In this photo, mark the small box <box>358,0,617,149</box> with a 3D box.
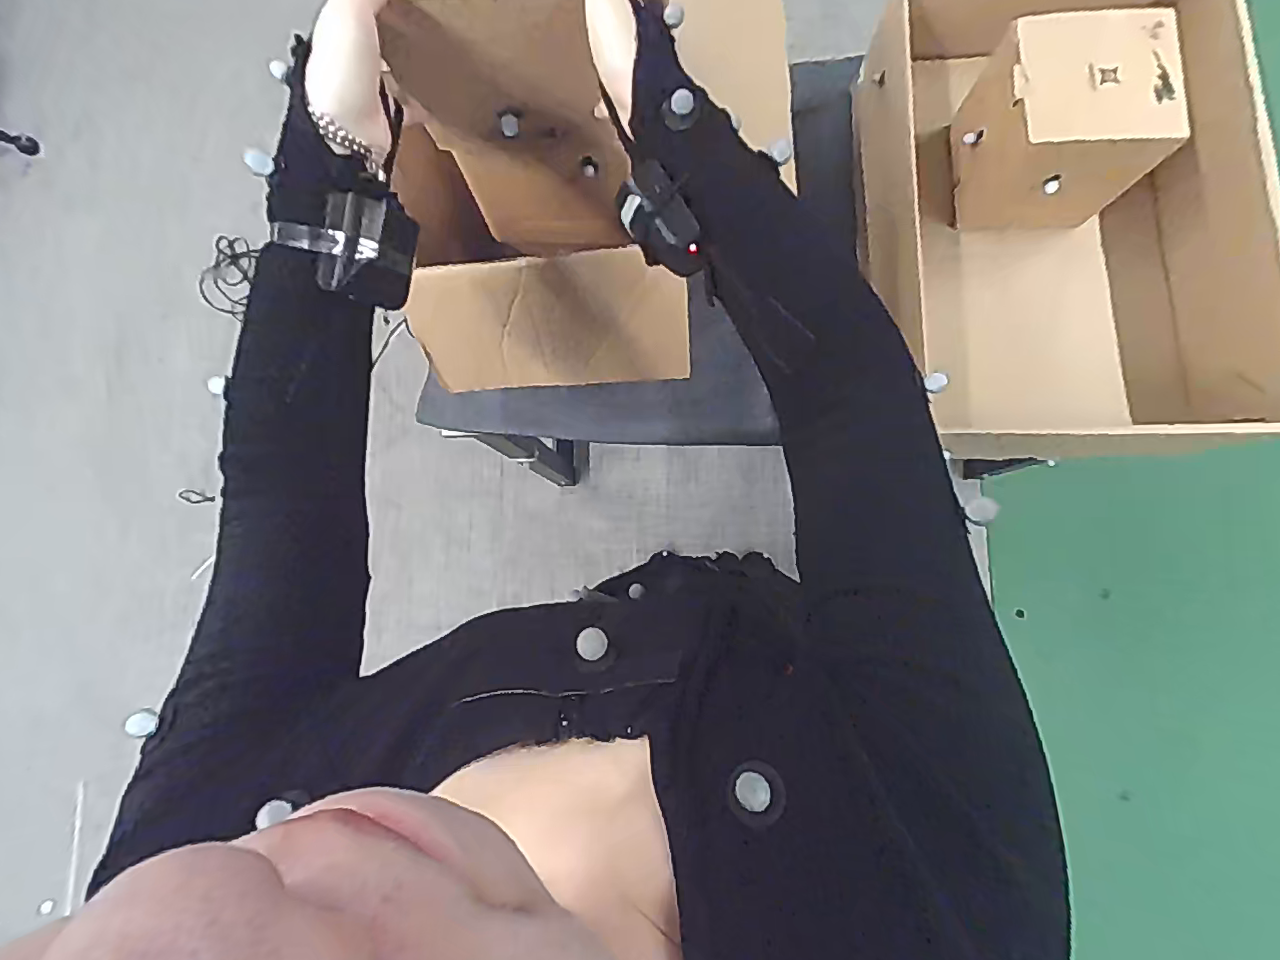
[{"bbox_3d":[-0.104,-0.390,0.414,0.168,0.176,0.179,-2,93,0],"label":"small box"}]
